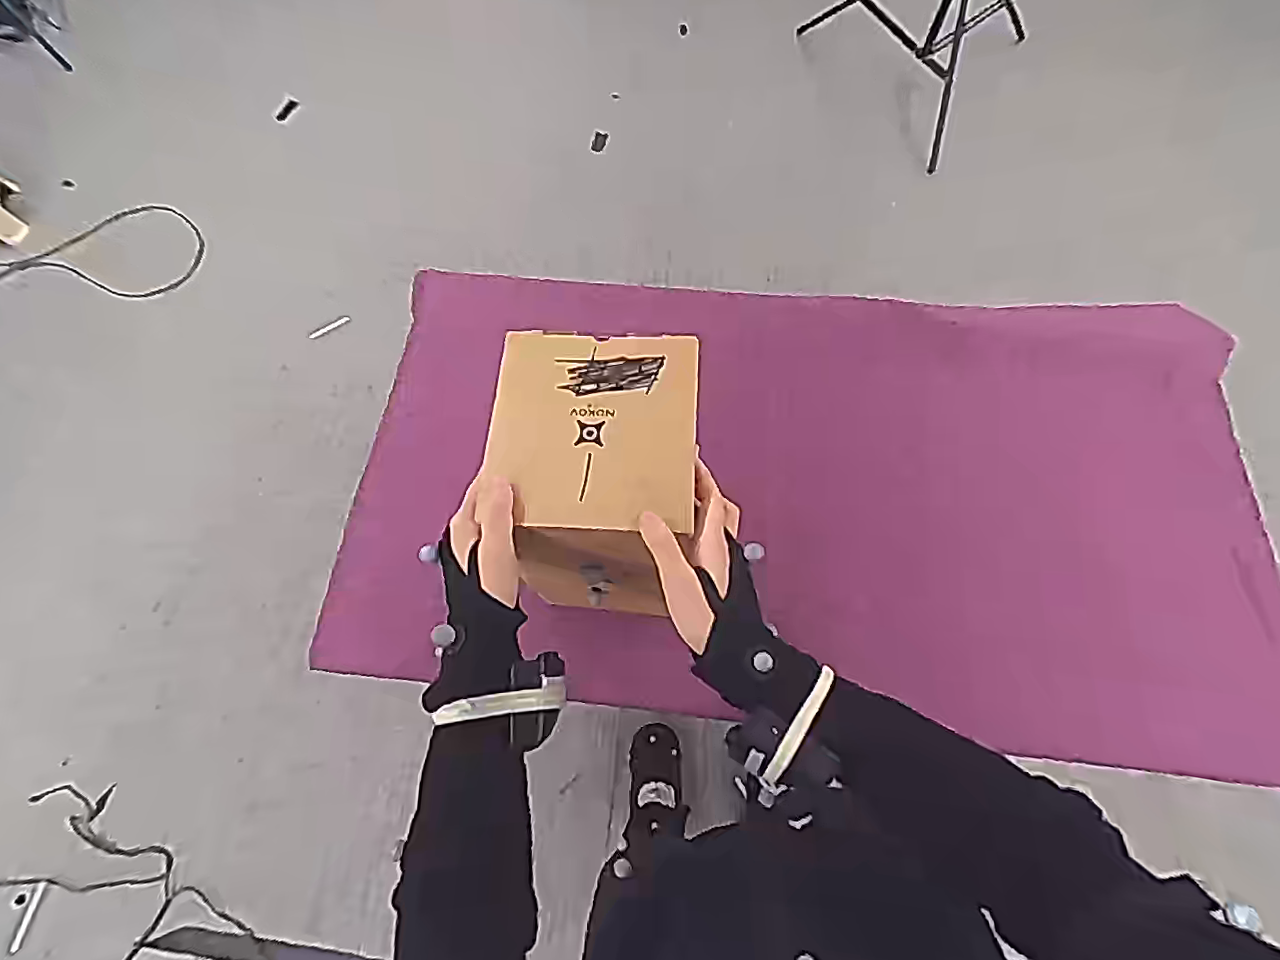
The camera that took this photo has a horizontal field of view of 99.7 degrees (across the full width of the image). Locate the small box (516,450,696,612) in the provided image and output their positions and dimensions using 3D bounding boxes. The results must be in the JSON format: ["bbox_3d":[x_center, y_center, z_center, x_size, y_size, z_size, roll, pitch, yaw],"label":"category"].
[{"bbox_3d":[-0.030,0.060,0.651,0.179,0.176,0.168,5,68,4],"label":"small box"}]

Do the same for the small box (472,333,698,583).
[{"bbox_3d":[-0.036,-0.012,0.503,0.168,0.176,0.179,2,68,4],"label":"small box"}]
